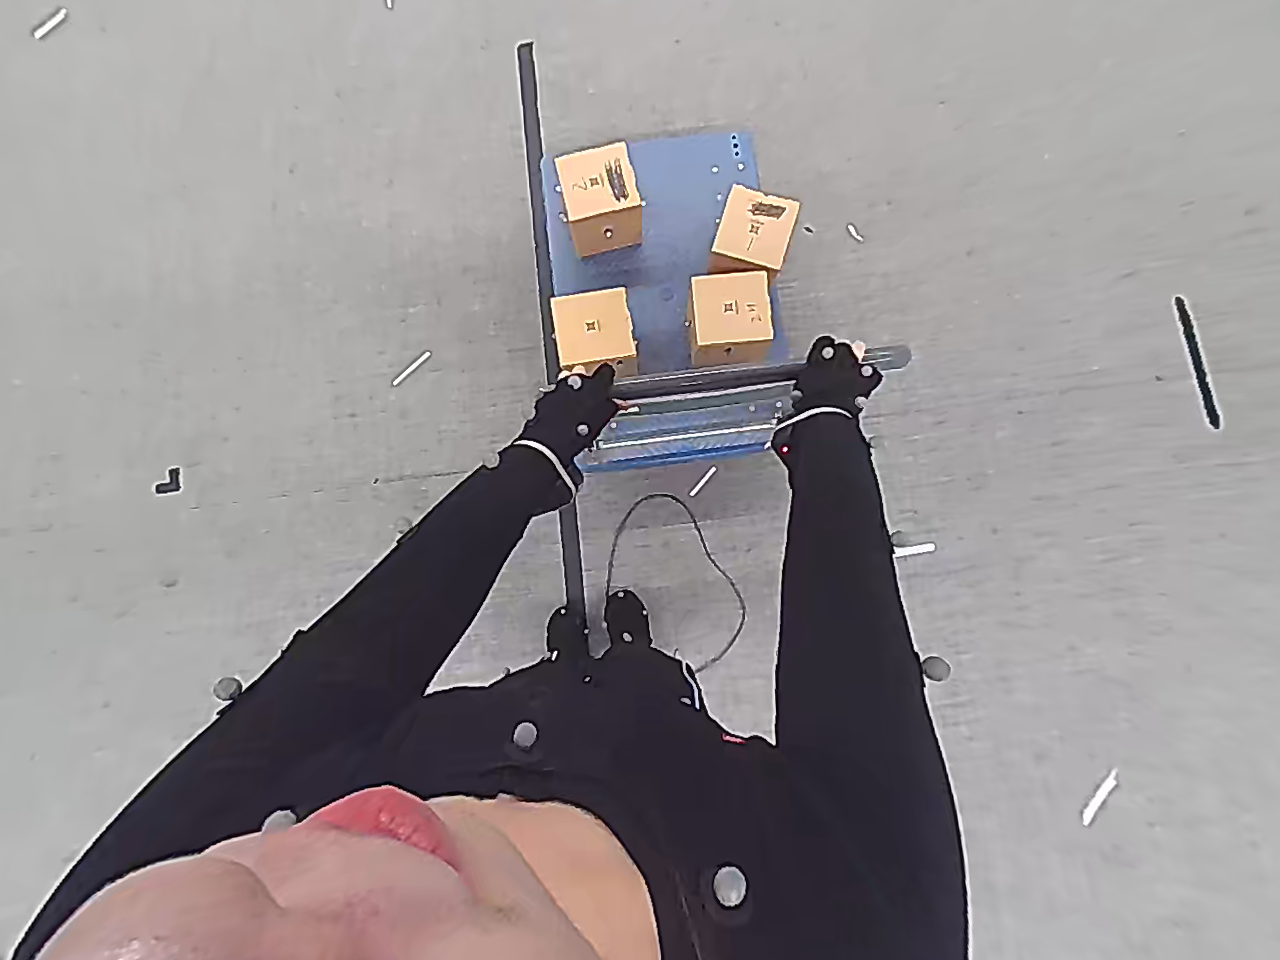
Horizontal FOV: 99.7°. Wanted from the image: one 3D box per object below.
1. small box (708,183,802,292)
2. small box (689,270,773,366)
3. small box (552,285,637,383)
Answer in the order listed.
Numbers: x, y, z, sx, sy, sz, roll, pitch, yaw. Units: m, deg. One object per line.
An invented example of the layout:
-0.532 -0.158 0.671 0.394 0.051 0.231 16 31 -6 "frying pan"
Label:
0.272 -0.576 1.320 0.168 0.176 0.179 18 85 3 "small box"
0.211 -0.381 1.299 0.179 0.176 0.168 -4 84 1 "small box"
-0.105 -0.342 1.302 0.179 0.176 0.168 -9 83 -1 "small box"
